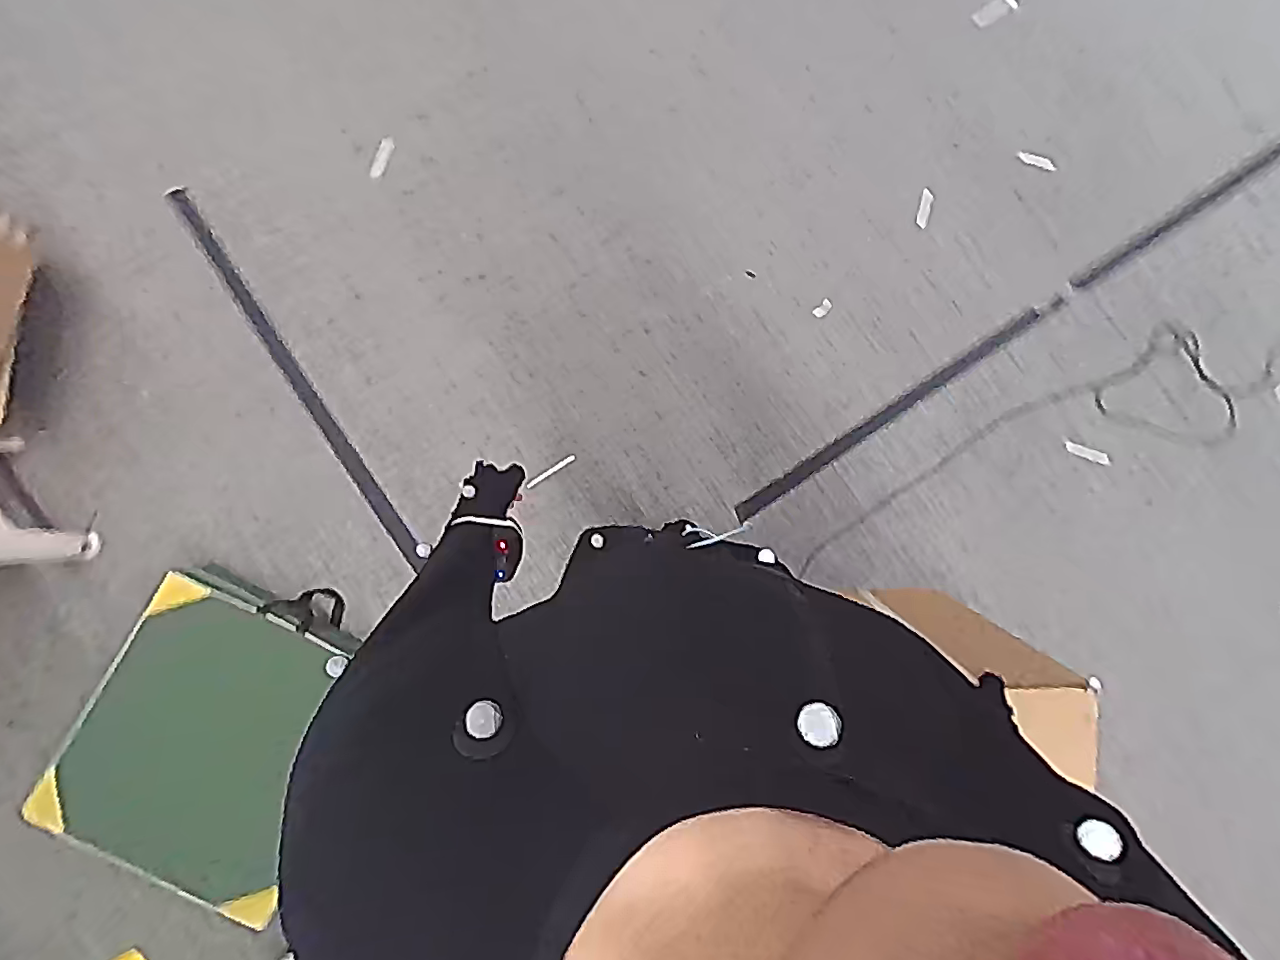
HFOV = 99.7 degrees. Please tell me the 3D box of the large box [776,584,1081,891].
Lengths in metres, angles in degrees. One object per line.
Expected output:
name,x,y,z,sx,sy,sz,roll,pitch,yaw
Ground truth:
large box,0.432,0.393,0.926,0.320,0.408,0.320,-2,98,2
